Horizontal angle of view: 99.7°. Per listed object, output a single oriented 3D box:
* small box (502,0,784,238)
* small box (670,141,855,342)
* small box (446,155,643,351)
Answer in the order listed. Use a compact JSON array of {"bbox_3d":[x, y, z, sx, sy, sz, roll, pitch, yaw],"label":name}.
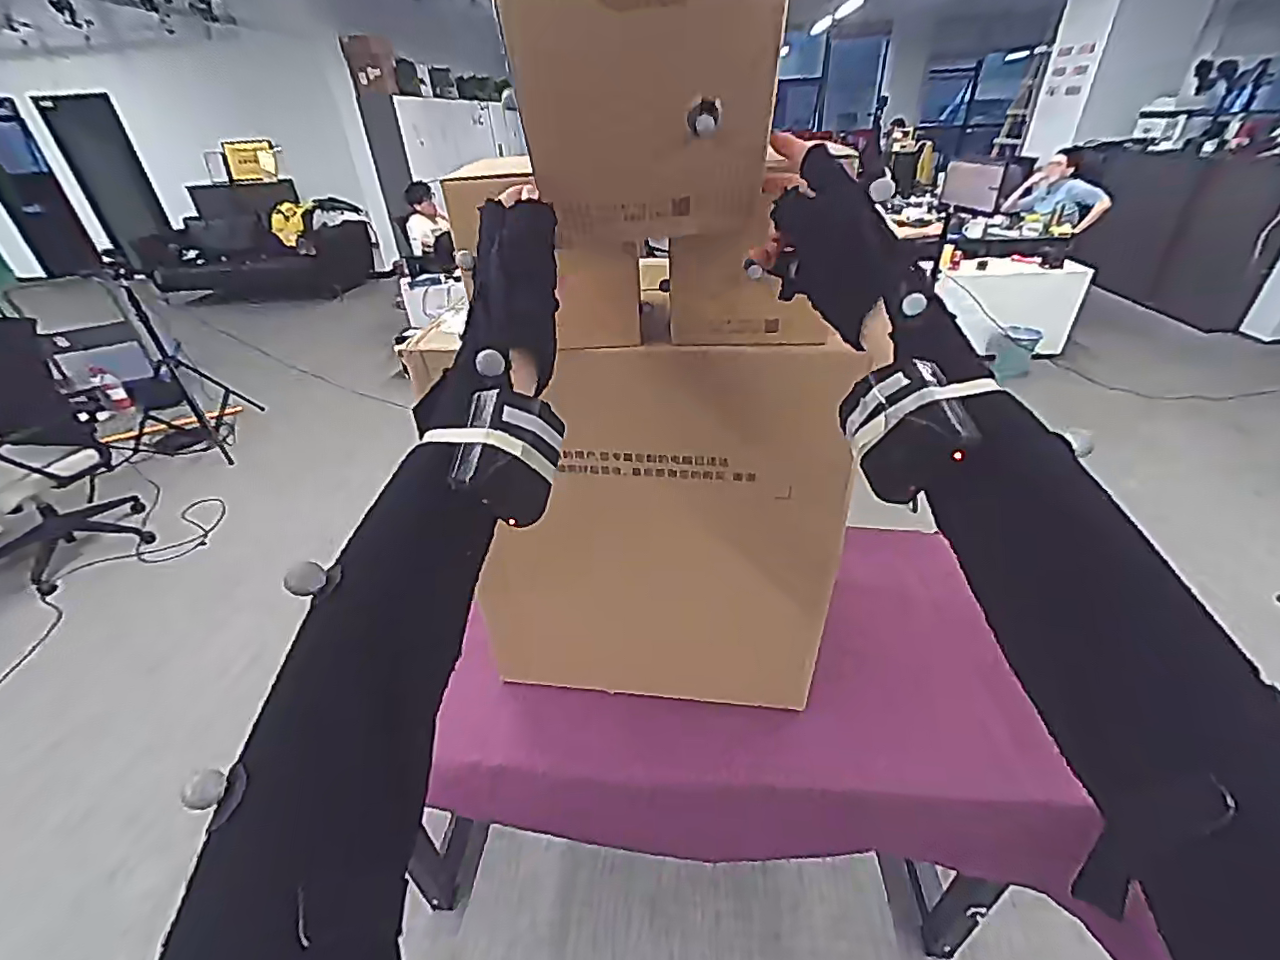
[{"bbox_3d":[0.001,-0.303,0.405,0.168,0.176,0.179,-7,62,-1],"label":"small box"},{"bbox_3d":[0.120,-0.258,0.588,0.168,0.176,0.179,2,36,6],"label":"small box"},{"bbox_3d":[-0.086,-0.253,0.599,0.179,0.176,0.168,-3,35,2],"label":"small box"}]
